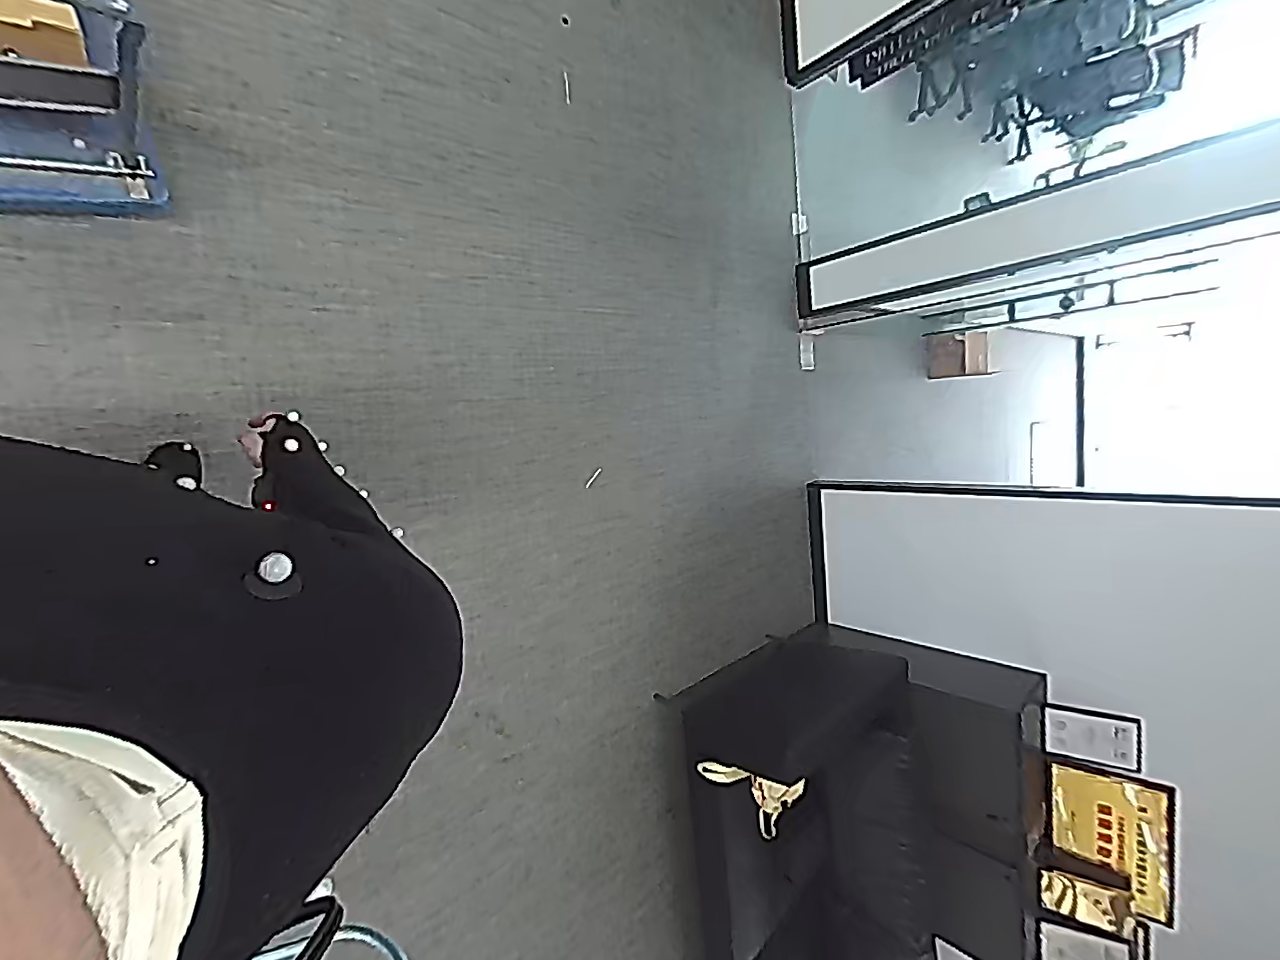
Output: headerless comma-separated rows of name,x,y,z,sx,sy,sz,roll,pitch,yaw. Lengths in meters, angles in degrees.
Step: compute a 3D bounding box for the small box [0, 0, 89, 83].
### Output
small box,-1.075,-0.825,0.914,0.168,0.176,0.179,-18,105,-40
